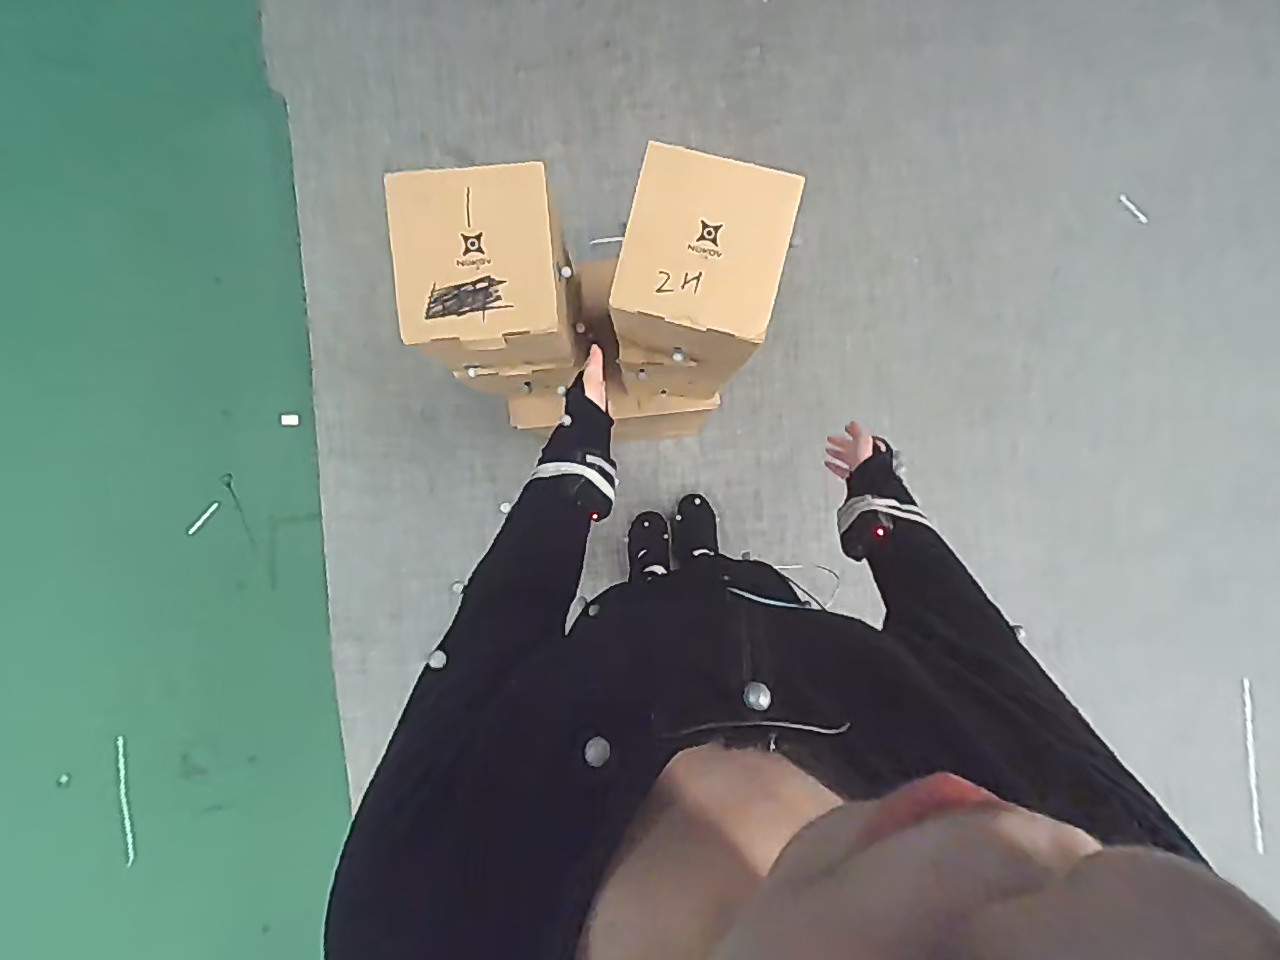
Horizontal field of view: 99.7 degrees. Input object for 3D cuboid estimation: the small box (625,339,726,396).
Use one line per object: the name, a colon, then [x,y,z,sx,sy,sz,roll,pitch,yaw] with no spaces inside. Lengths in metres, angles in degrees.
small box: [0.062,-0.249,0.954,0.168,0.176,0.179,2,92,2]

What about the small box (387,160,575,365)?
small box: [-0.171,-0.237,0.633,0.168,0.176,0.179,-5,91,-1]

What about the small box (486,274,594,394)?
small box: [-0.173,-0.249,0.961,0.168,0.176,0.179,-3,91,-1]

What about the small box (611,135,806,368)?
small box: [0.070,-0.246,0.624,0.168,0.176,0.179,14,91,2]
